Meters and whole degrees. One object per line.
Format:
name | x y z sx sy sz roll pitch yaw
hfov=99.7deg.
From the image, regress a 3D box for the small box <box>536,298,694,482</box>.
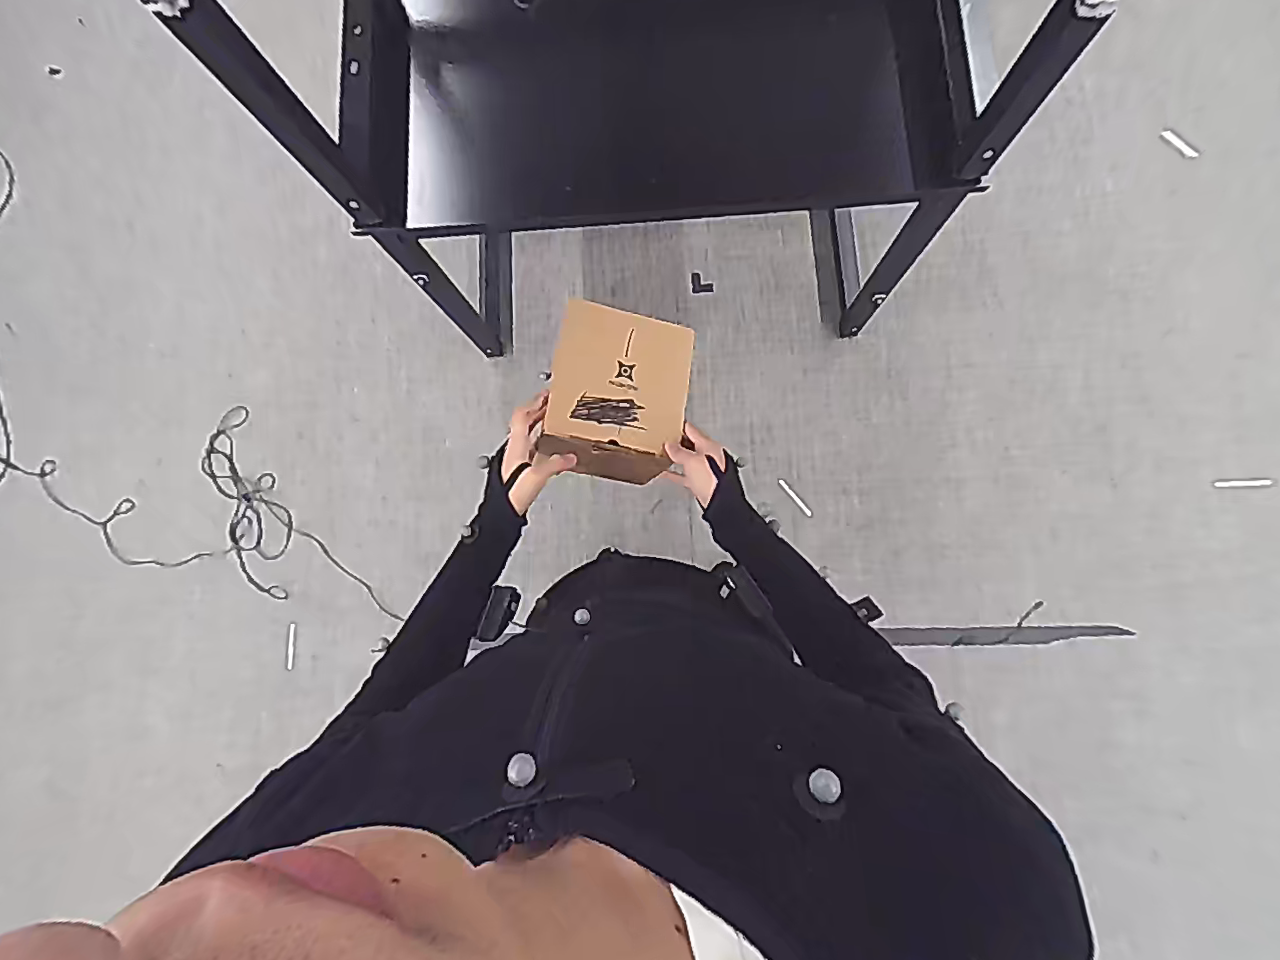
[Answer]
small box | -0.041 -0.105 0.718 0.168 0.176 0.179 11 75 -13
